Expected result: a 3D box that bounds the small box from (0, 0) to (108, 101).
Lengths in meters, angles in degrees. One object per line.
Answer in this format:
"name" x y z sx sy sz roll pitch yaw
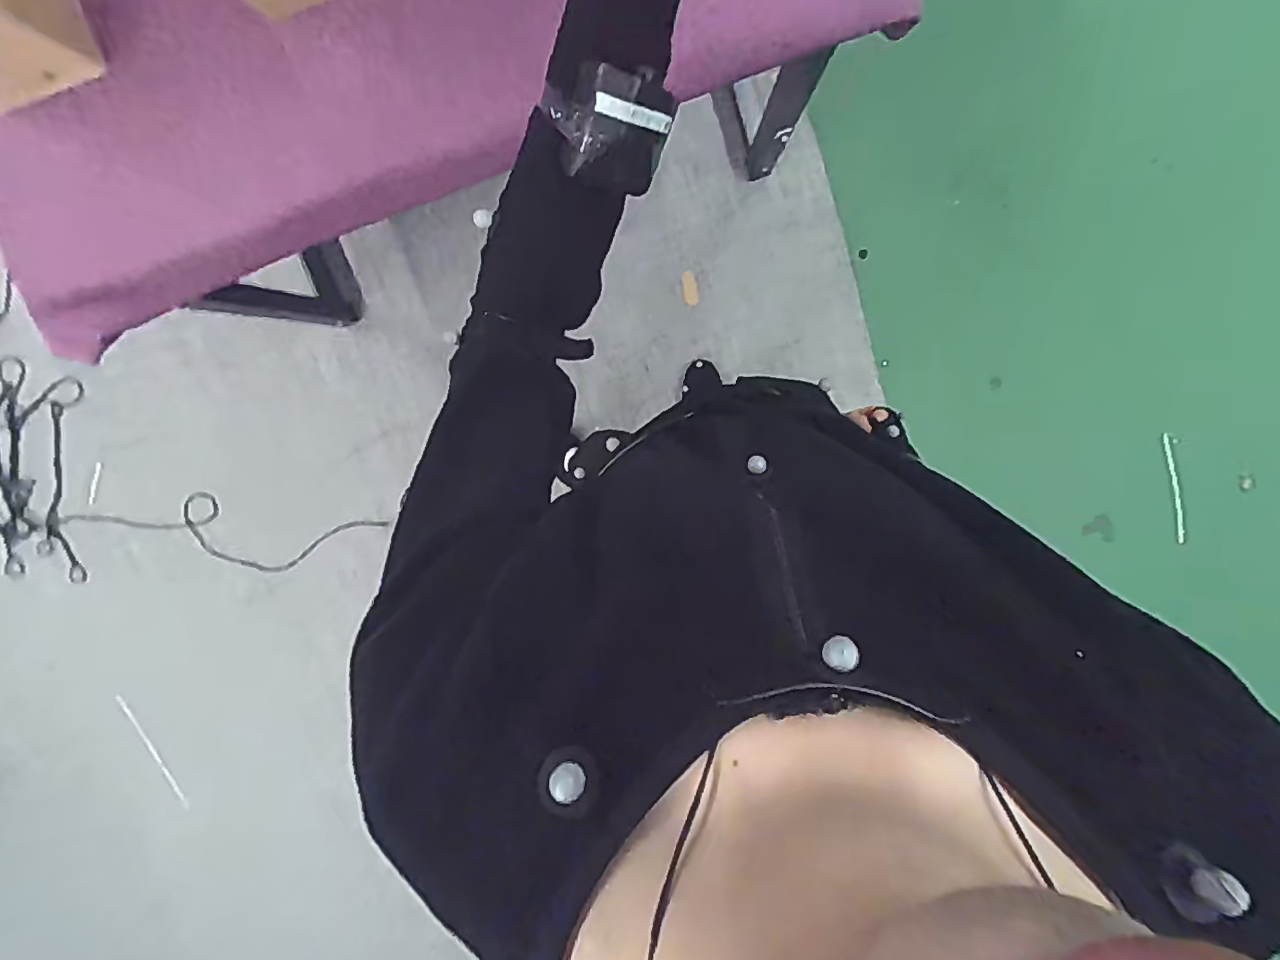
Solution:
"small box" -0.768 -0.563 0.602 0.168 0.176 0.179 -15 100 7
